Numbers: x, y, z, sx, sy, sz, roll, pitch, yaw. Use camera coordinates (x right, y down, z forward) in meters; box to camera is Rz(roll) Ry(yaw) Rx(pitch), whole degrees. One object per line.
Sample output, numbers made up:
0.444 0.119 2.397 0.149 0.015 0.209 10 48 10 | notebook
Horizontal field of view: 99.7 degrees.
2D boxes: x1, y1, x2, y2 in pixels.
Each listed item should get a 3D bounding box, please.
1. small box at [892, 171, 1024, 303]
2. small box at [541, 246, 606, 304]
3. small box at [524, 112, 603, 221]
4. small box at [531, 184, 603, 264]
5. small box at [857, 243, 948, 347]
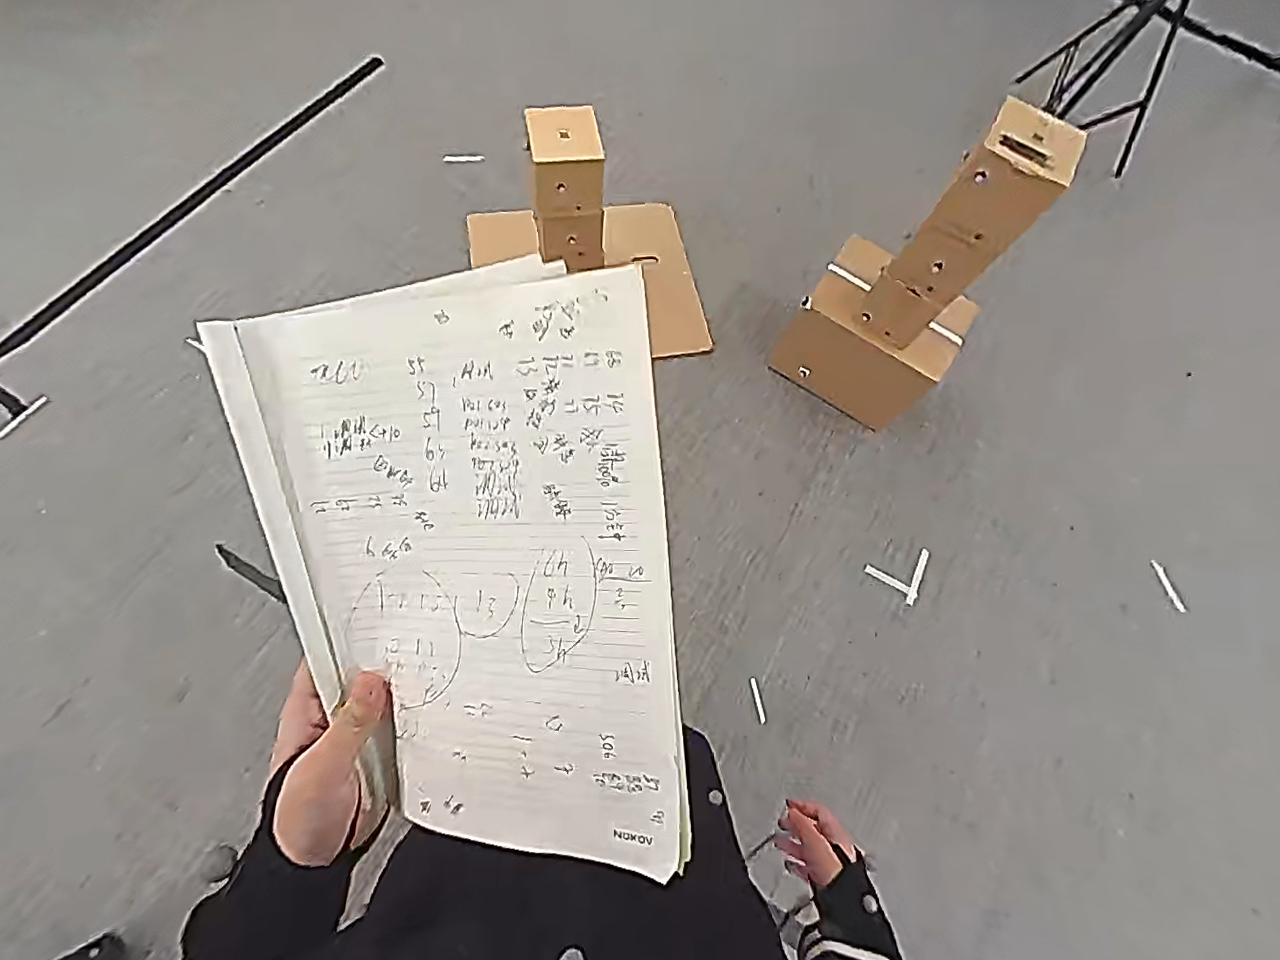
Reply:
0.699 -0.534 1.208 0.168 0.176 0.179 33 71 5 | small box
-0.207 -0.668 1.649 0.168 0.176 0.179 -13 73 -11 | small box
-0.187 -0.766 1.337 0.168 0.176 0.179 -10 71 -10 | small box
-0.201 -0.719 1.492 0.168 0.176 0.179 -12 71 -12 | small box
0.676 -0.471 1.358 0.168 0.176 0.179 35 69 7 | small box
